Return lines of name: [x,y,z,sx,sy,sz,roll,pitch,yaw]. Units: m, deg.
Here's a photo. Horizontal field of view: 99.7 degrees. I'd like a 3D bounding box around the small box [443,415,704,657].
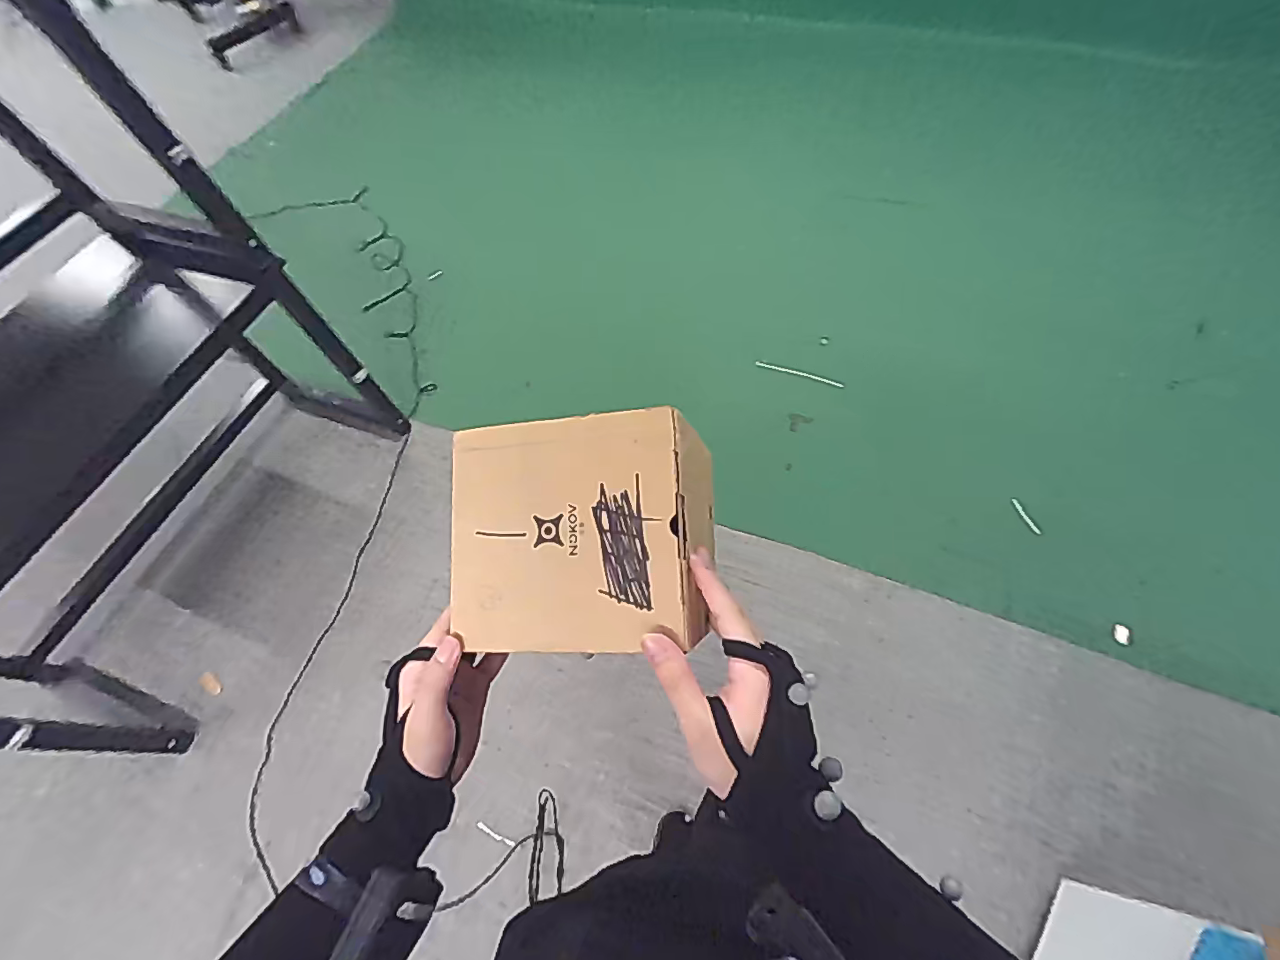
small box: [-0.042,0.051,0.458,0.179,0.176,0.168,-5,81,15]
